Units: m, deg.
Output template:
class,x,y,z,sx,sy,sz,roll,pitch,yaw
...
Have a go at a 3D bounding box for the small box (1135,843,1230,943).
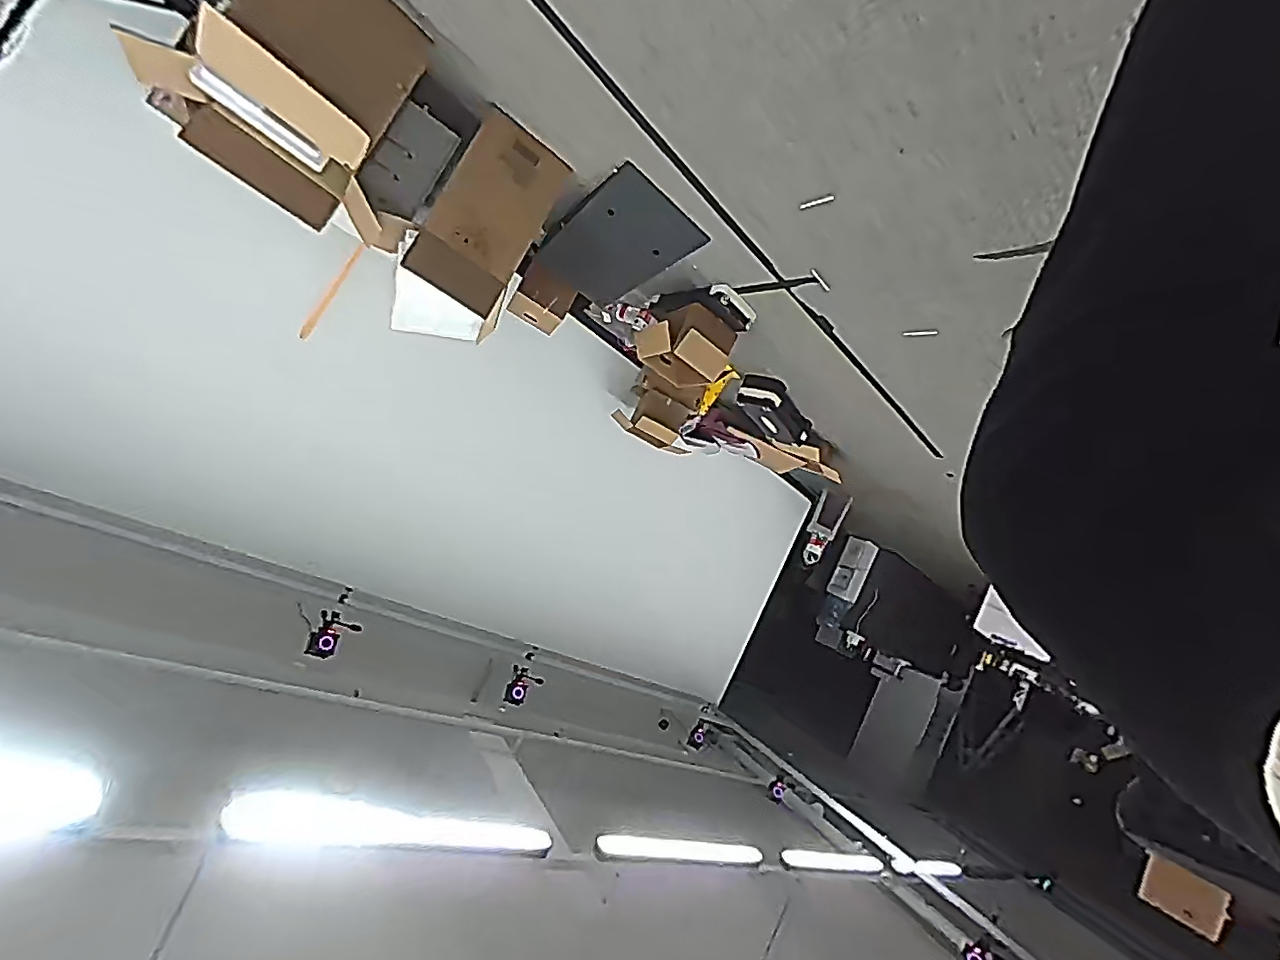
class,x,y,z,sx,sy,sz,roll,pitch,yaw
small box,1.618,1.217,1.610,0.179,0.176,0.168,31,172,-39
